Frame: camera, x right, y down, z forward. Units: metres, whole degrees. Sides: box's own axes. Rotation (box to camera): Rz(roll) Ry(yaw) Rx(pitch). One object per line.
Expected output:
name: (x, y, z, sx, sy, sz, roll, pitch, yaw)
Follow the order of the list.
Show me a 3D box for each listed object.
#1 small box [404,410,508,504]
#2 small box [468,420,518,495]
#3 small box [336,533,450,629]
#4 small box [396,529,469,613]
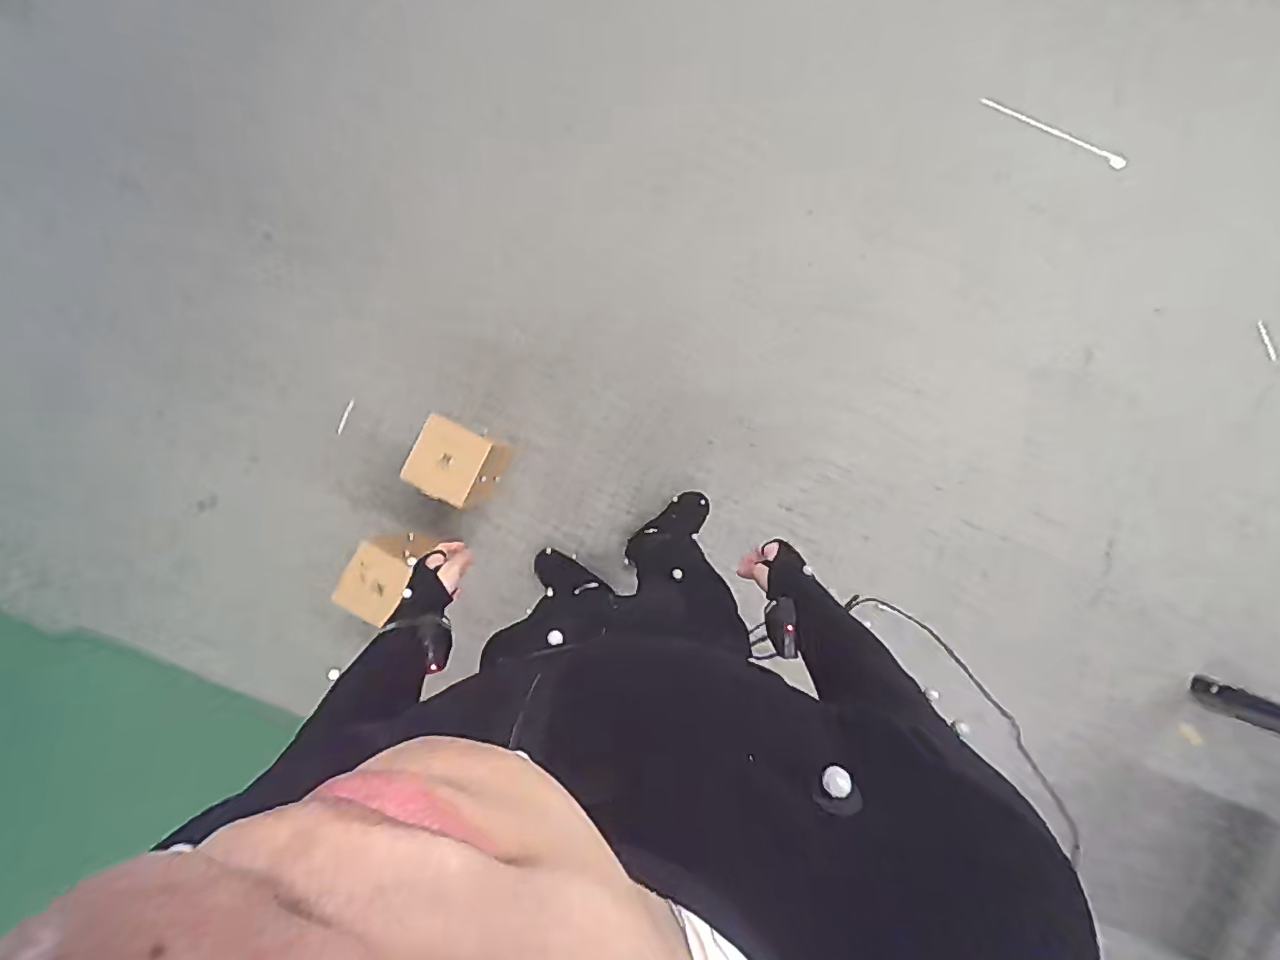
small box: (-0.454, -0.056, 1.366, 0.168, 0.176, 0.179, 27, 90, -1)
small box: (-0.464, -0.061, 1.530, 0.168, 0.176, 0.179, 24, 92, -1)
small box: (-0.614, 0.246, 1.369, 0.179, 0.176, 0.168, 29, 90, 0)
small box: (-0.616, 0.248, 1.534, 0.179, 0.176, 0.168, 27, 90, 0)
